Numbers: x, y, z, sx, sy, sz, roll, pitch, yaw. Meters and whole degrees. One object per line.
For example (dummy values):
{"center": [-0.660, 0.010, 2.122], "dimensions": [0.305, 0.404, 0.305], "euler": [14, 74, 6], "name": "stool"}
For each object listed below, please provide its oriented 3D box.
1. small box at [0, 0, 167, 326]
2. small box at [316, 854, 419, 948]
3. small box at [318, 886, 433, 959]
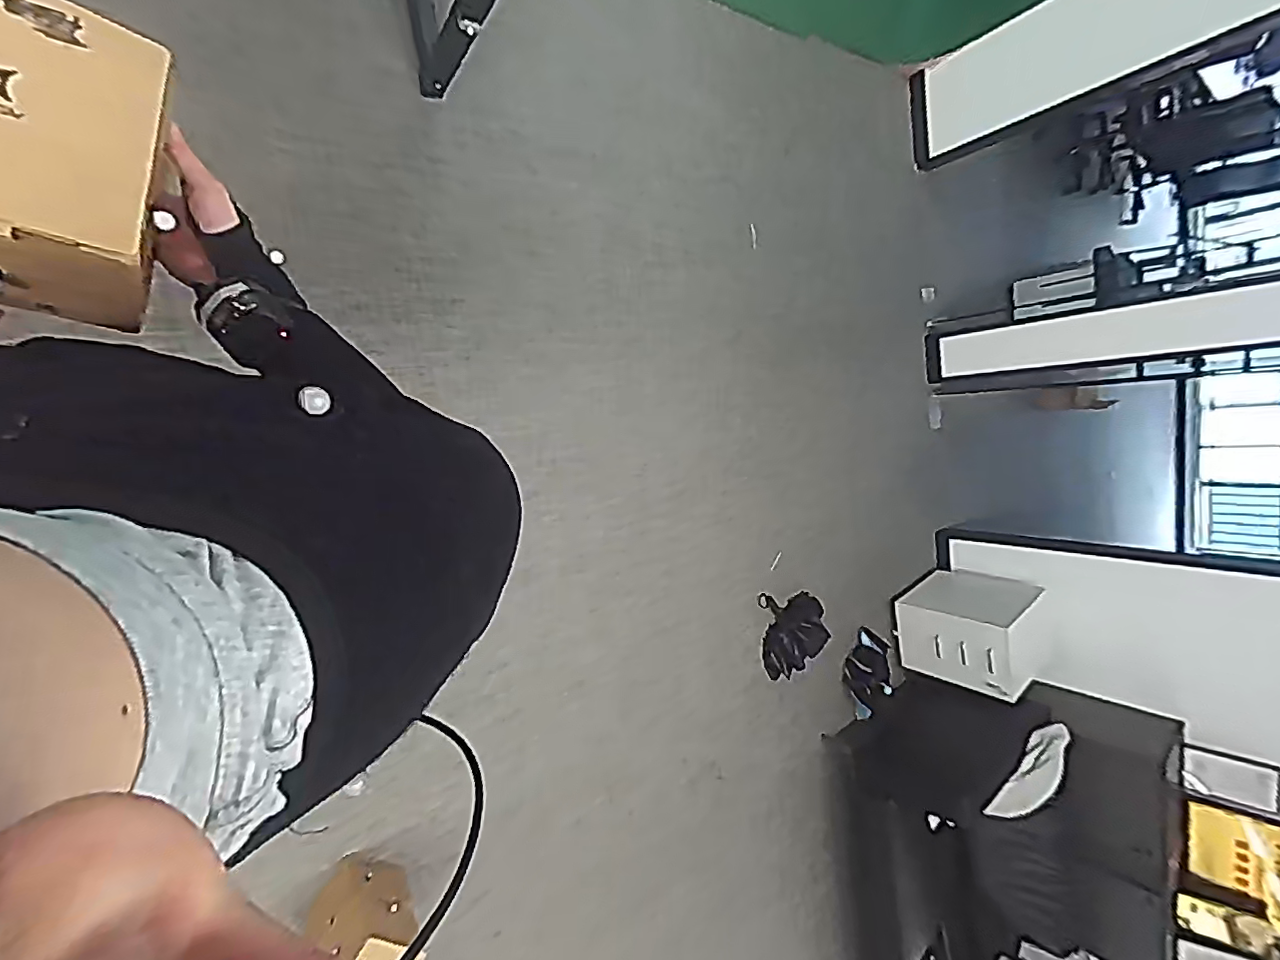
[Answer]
{"center": [-0.471, -0.235, 0.403], "dimensions": [0.168, 0.176, 0.179], "euler": [7, 80, -42], "name": "small box"}
{"center": [-0.711, 1.113, 1.401], "dimensions": [0.168, 0.176, 0.179], "euler": [37, 71, -32], "name": "small box"}
{"center": [-0.623, 1.106, 1.261], "dimensions": [0.168, 0.176, 0.179], "euler": [45, 65, -29], "name": "small box"}
